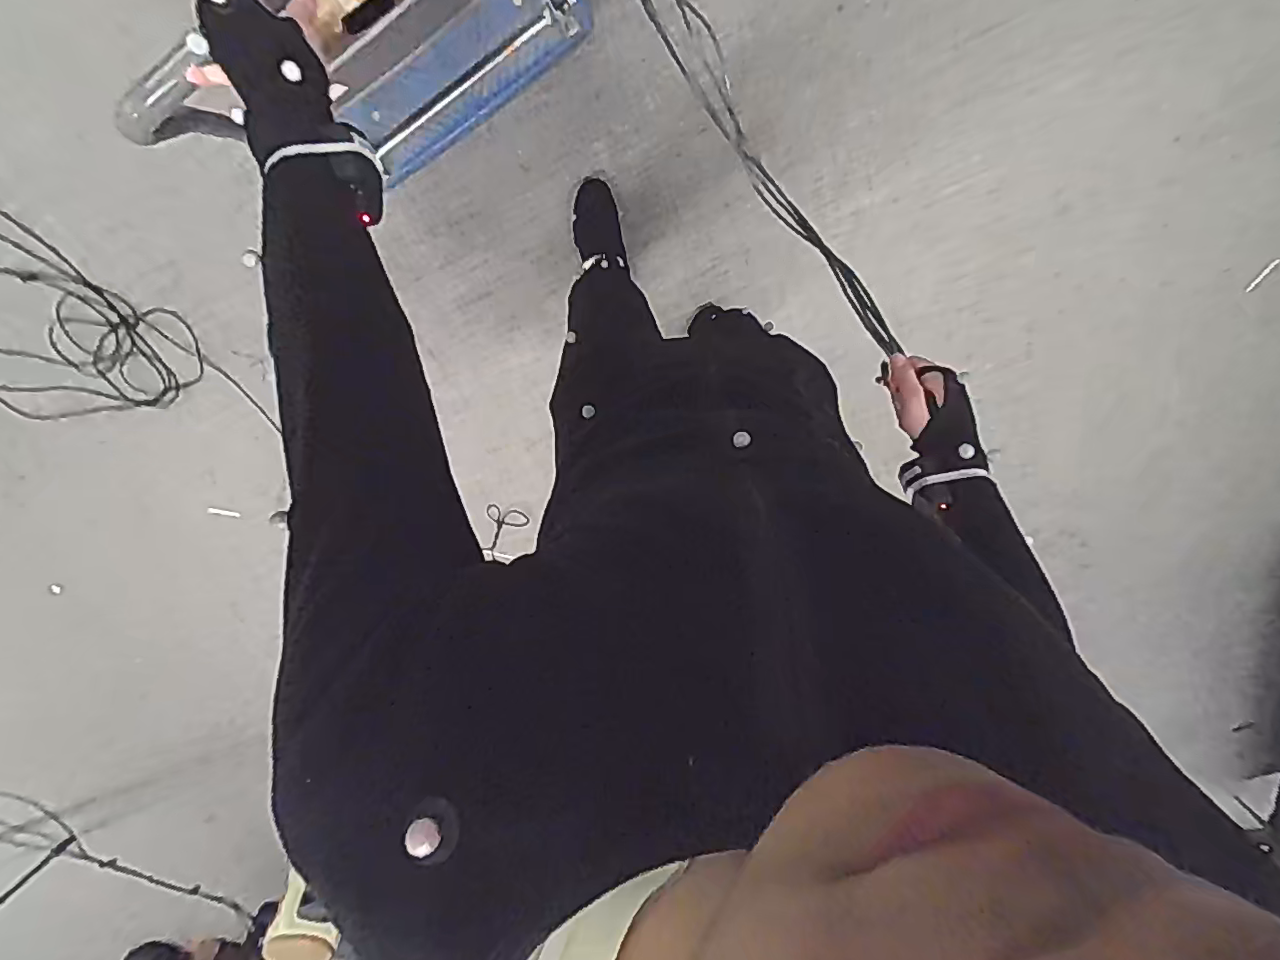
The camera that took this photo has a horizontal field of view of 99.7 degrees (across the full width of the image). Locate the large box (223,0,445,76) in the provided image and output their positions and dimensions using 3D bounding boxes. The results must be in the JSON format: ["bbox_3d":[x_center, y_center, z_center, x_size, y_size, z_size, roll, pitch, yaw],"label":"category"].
[{"bbox_3d":[-0.519,-0.911,0.789,0.320,0.320,0.408,-26,117,11],"label":"large box"}]
